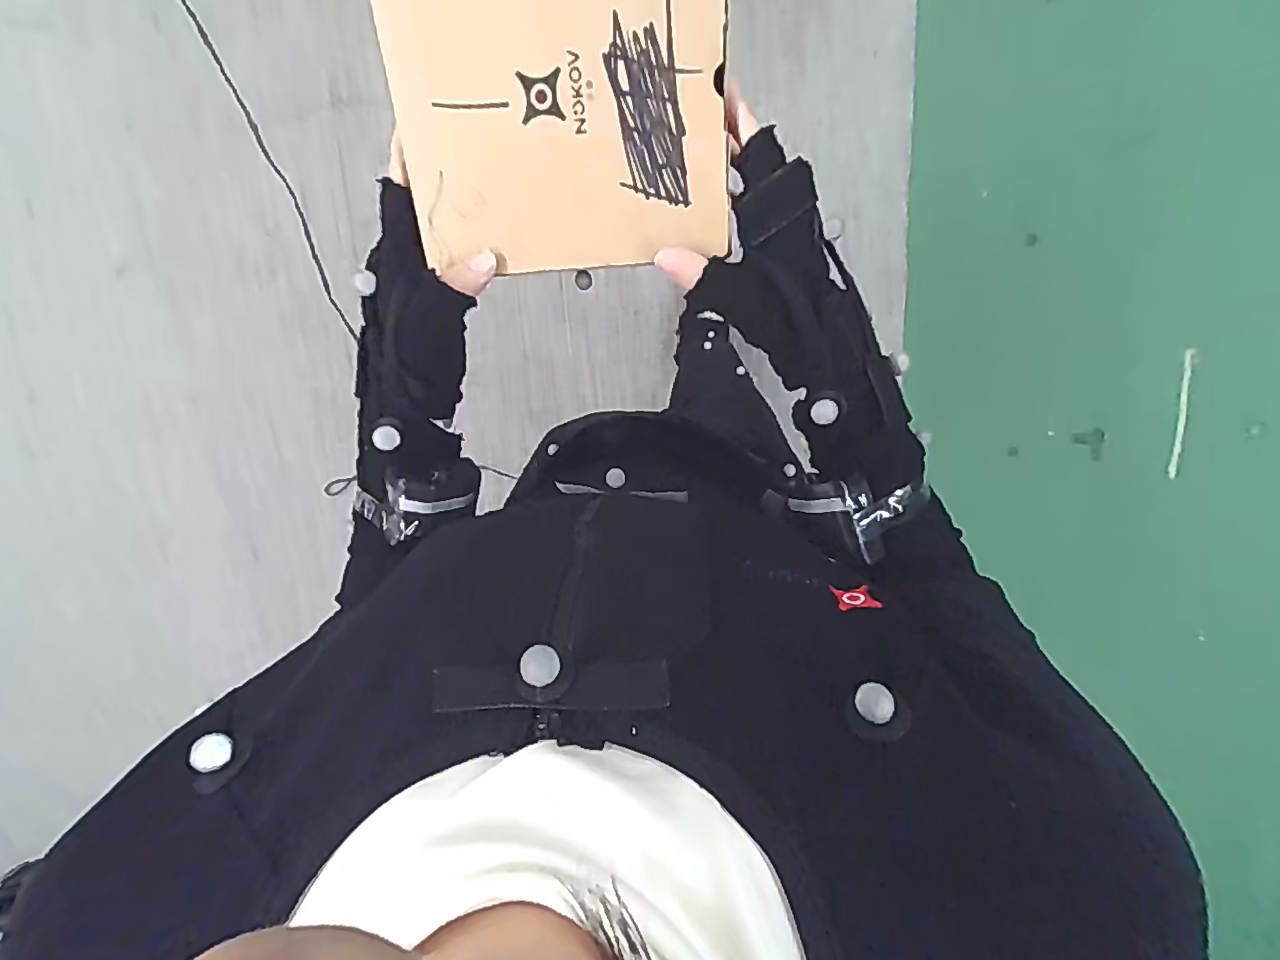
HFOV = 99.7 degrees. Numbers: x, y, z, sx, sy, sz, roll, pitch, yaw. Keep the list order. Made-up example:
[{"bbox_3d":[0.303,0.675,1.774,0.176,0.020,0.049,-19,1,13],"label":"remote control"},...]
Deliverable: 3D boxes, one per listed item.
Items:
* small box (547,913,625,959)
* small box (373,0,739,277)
[{"bbox_3d":[-0.129,1.178,1.289,0.168,0.176,0.179,-6,100,4],"label":"small box"},{"bbox_3d":[-0.038,-0.234,0.351,0.179,0.176,0.168,-6,114,5],"label":"small box"}]
